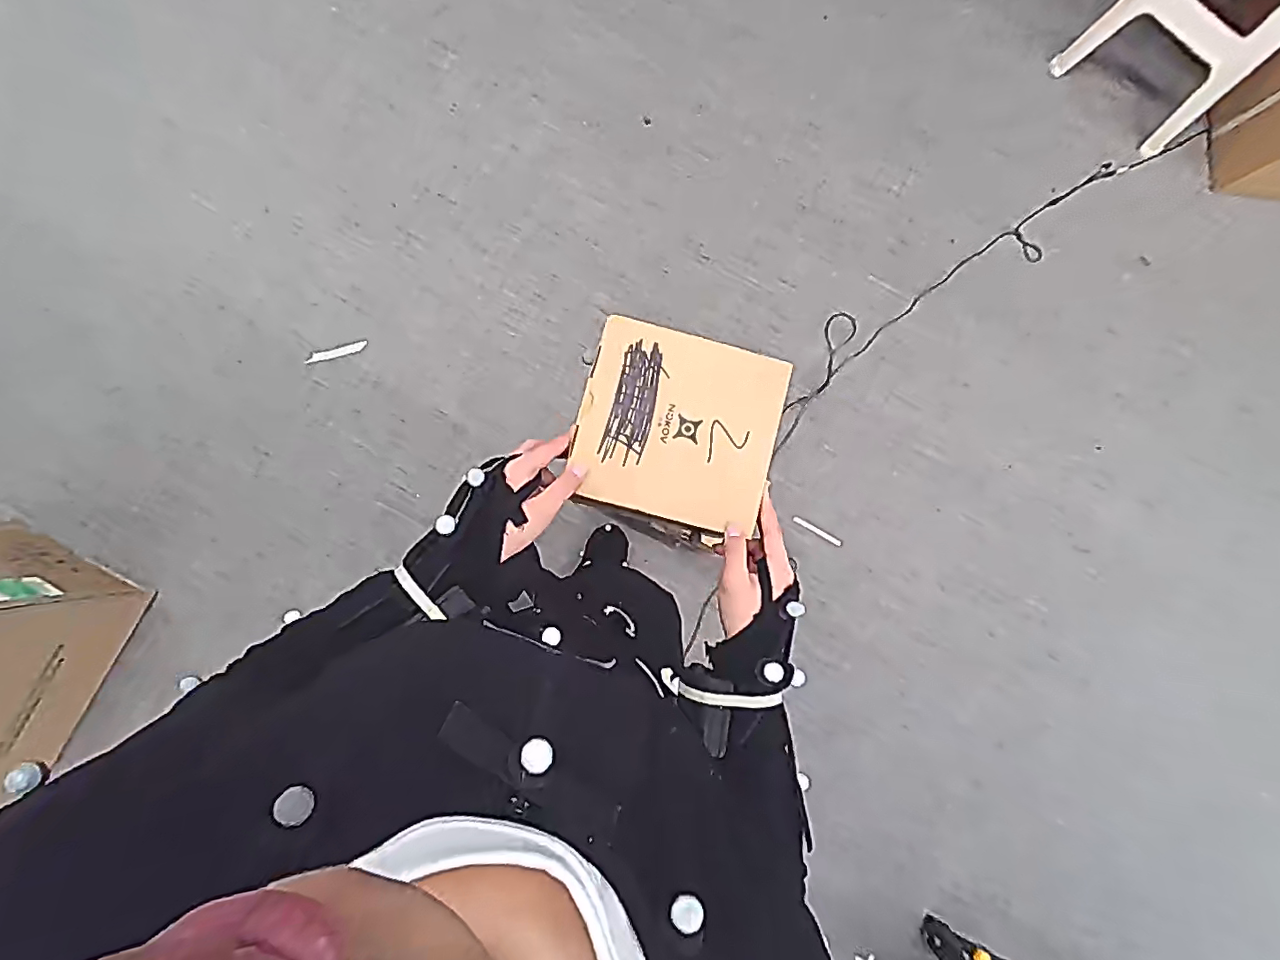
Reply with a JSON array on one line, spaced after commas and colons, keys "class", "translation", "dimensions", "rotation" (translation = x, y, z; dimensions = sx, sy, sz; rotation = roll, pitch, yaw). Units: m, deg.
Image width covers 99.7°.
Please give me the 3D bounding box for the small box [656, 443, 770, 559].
[{"class": "small box", "translation": [0.143, 0.047, 1.132], "dimensions": [0.168, 0.176, 0.179], "rotation": [29, 85, 1]}]
